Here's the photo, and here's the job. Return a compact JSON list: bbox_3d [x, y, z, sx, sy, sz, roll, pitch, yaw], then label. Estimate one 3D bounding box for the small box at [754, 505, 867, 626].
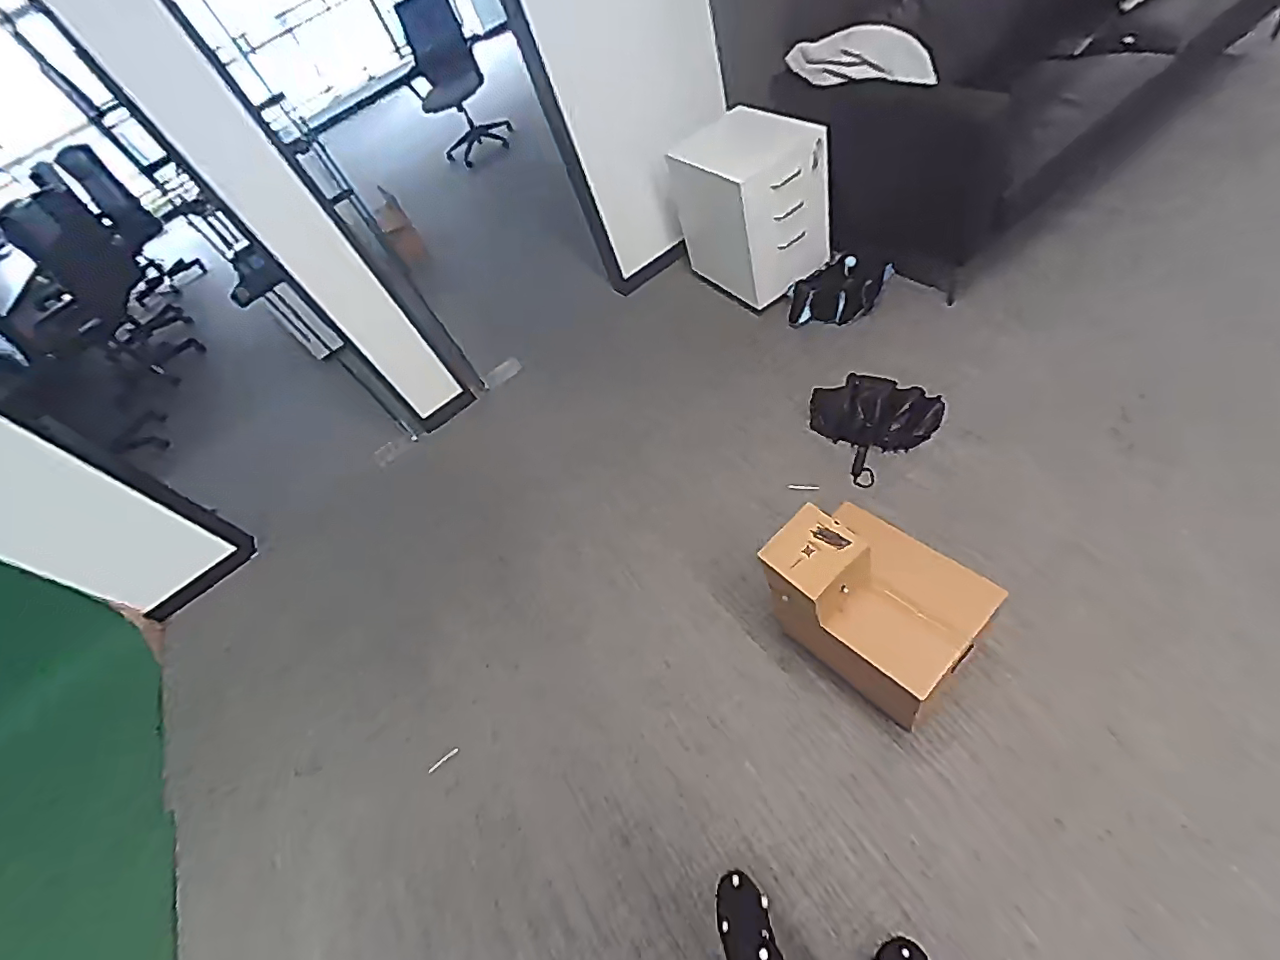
[{"bbox_3d":[0.385,0.195,1.219,0.179,0.176,0.168,-42,51,-9],"label":"small box"}]
